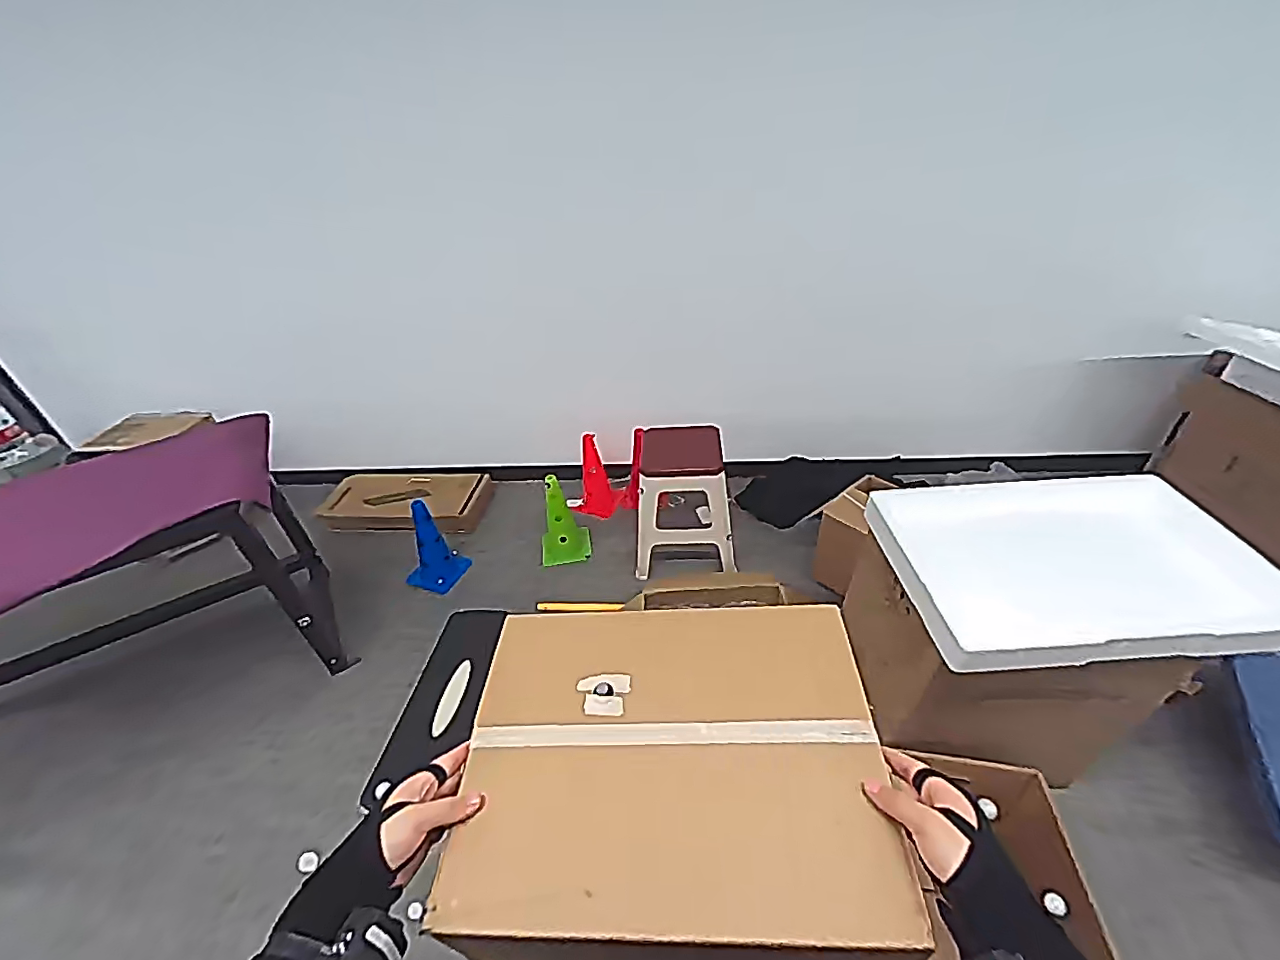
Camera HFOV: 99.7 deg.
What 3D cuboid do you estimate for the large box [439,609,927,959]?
[{"bbox_3d":[0.050,0.382,0.641,0.408,0.320,0.320,-5,38,6],"label":"large box"}]
